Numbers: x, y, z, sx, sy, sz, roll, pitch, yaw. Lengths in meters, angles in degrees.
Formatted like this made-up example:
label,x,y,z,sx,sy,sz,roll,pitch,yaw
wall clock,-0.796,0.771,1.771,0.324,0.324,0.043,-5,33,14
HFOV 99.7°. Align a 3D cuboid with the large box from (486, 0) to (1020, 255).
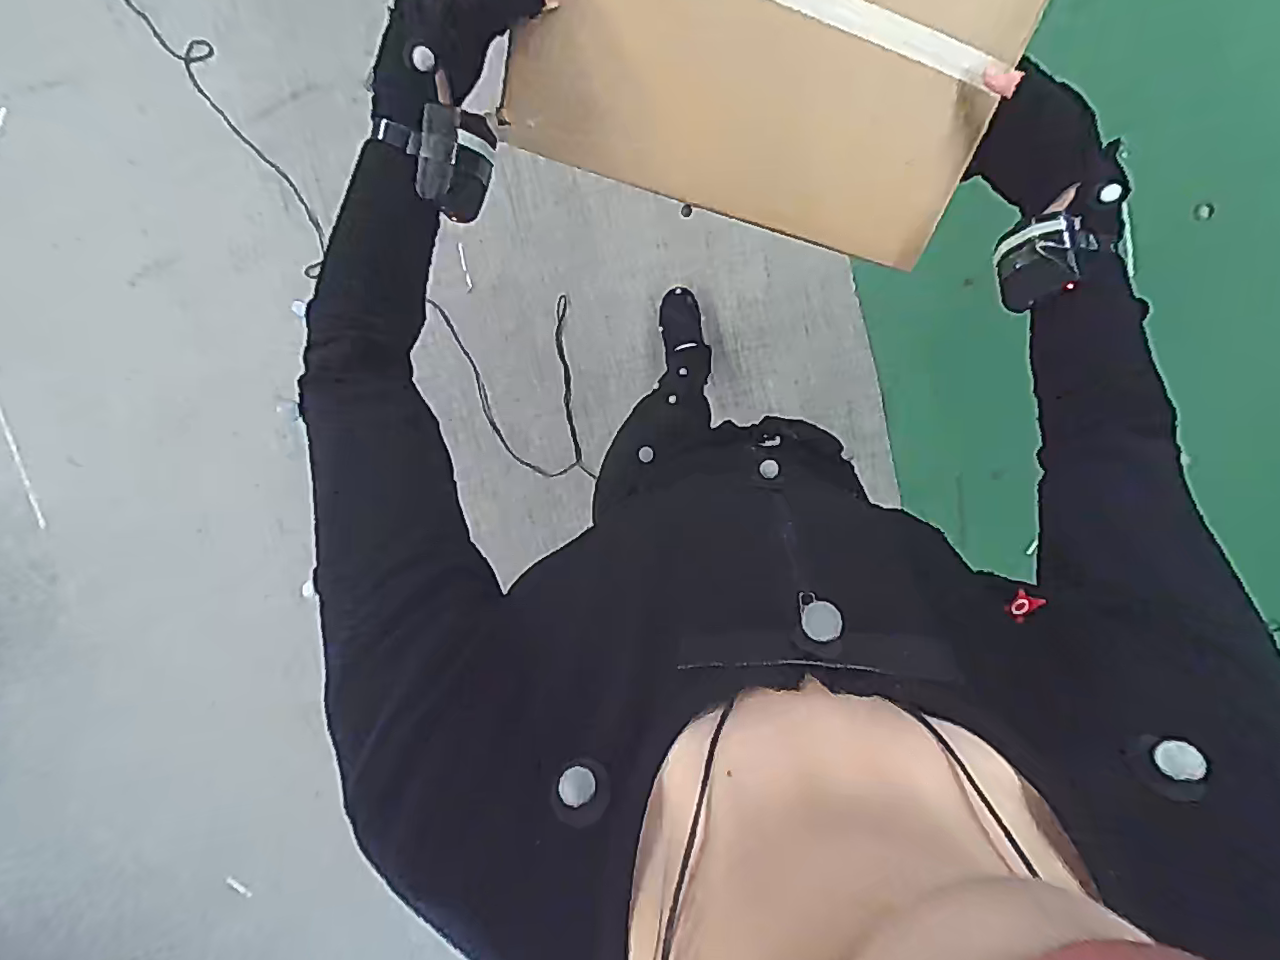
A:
label,x,y,z,sx,sy,sz,roll,pitch,yaw
large box,0.090,-0.457,0.543,0.408,0.320,0.320,11,118,-12
